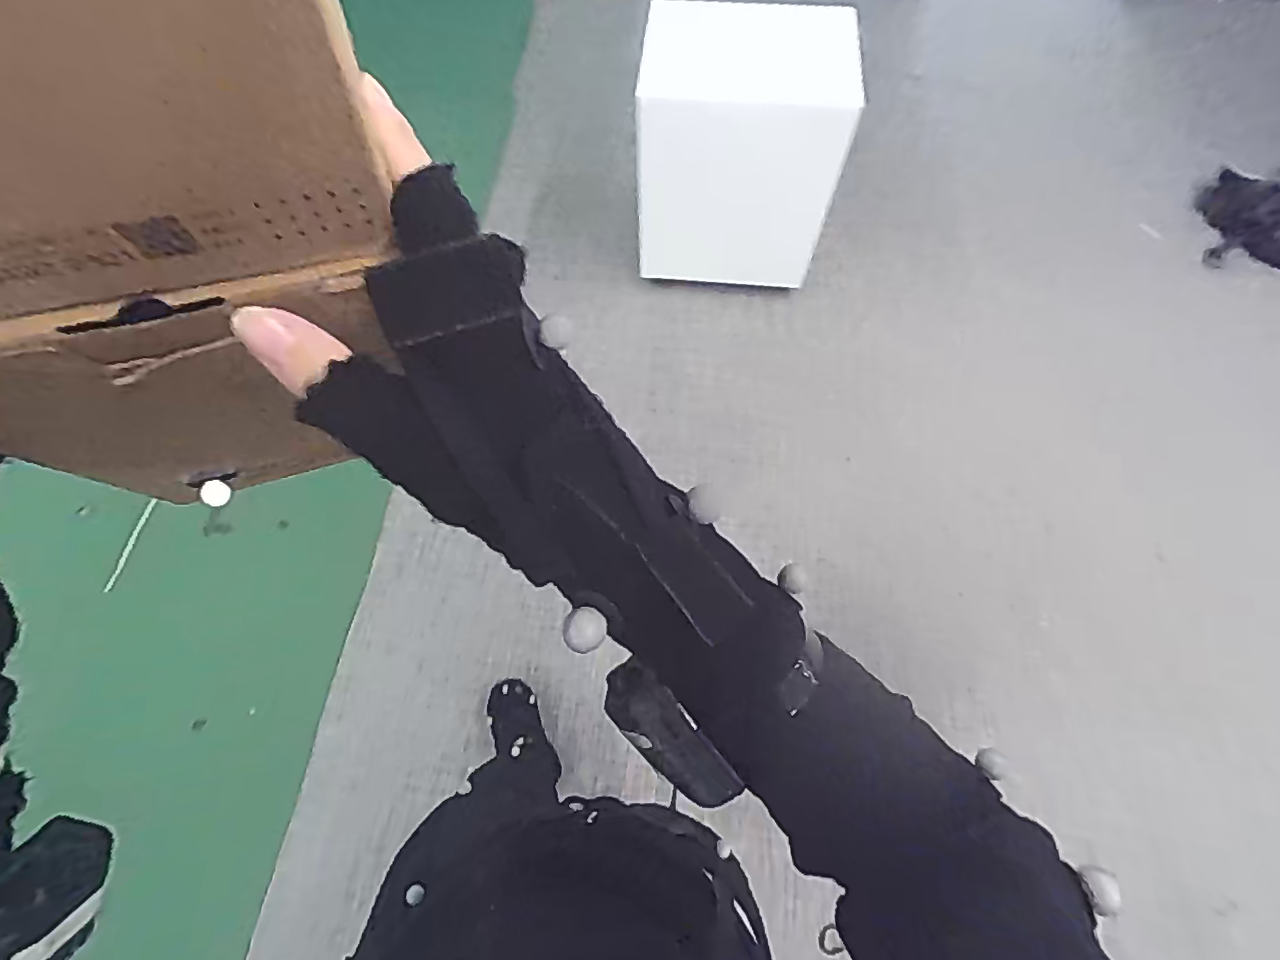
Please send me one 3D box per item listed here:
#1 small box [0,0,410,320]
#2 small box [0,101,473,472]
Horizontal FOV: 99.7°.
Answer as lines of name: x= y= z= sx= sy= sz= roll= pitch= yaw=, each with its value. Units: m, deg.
small box: x=-0.166 y=-0.159 z=0.113 sx=0.168 sy=0.176 sz=0.179 roll=-16 pitch=79 yaw=-13
small box: x=-0.192 y=-0.113 z=0.268 sx=0.168 sy=0.176 sz=0.179 roll=-17 pitch=79 yaw=-13
